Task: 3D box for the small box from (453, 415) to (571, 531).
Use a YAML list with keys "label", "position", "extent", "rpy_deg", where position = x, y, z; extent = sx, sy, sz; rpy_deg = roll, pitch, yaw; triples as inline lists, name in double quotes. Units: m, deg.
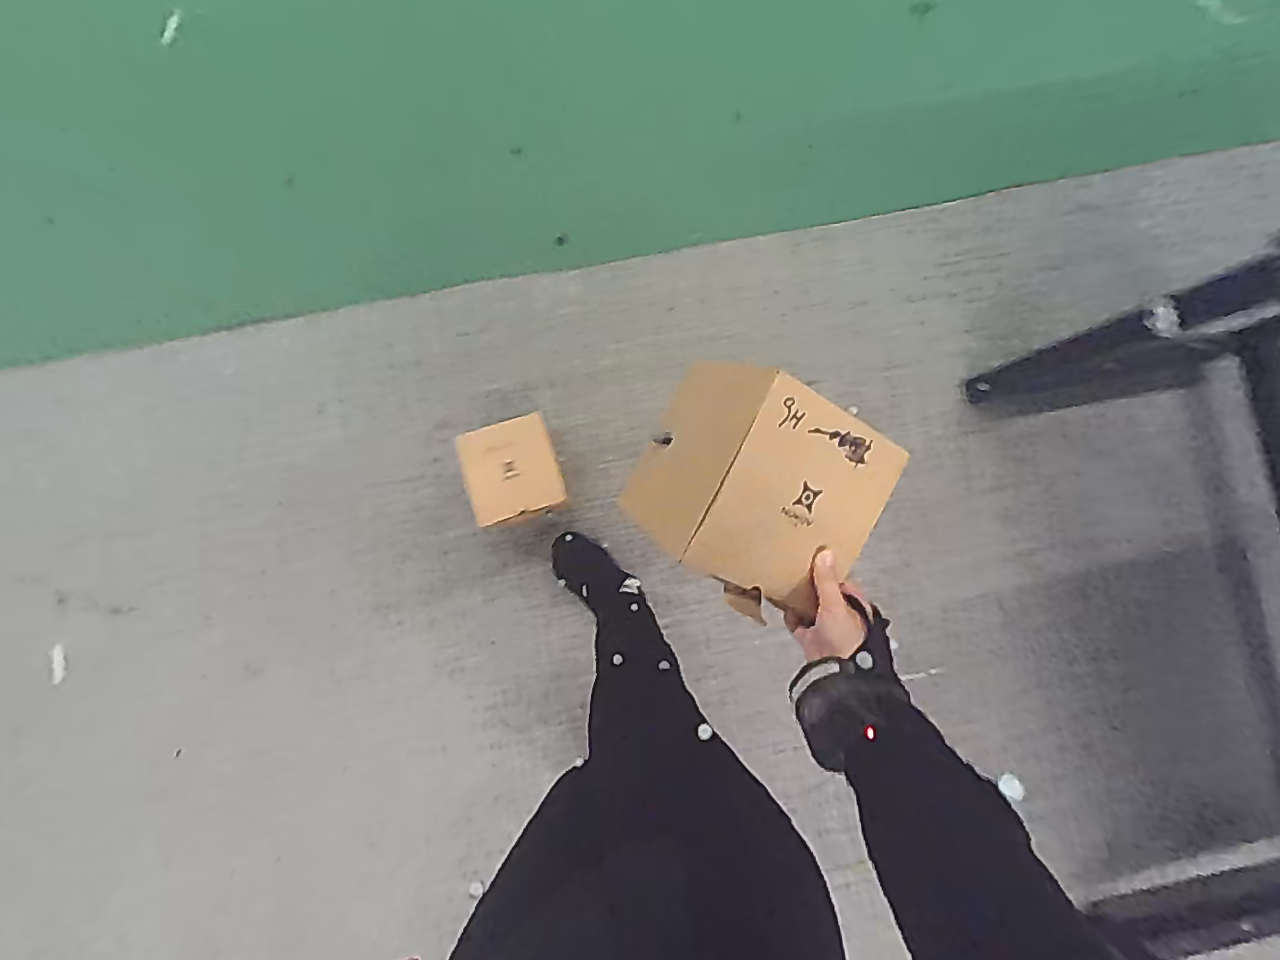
- label: "small box"
  position: [-0.241, -0.007, 1.059]
  extent: [0.168, 0.176, 0.179]
  rpy_deg: [-18, 85, -5]
